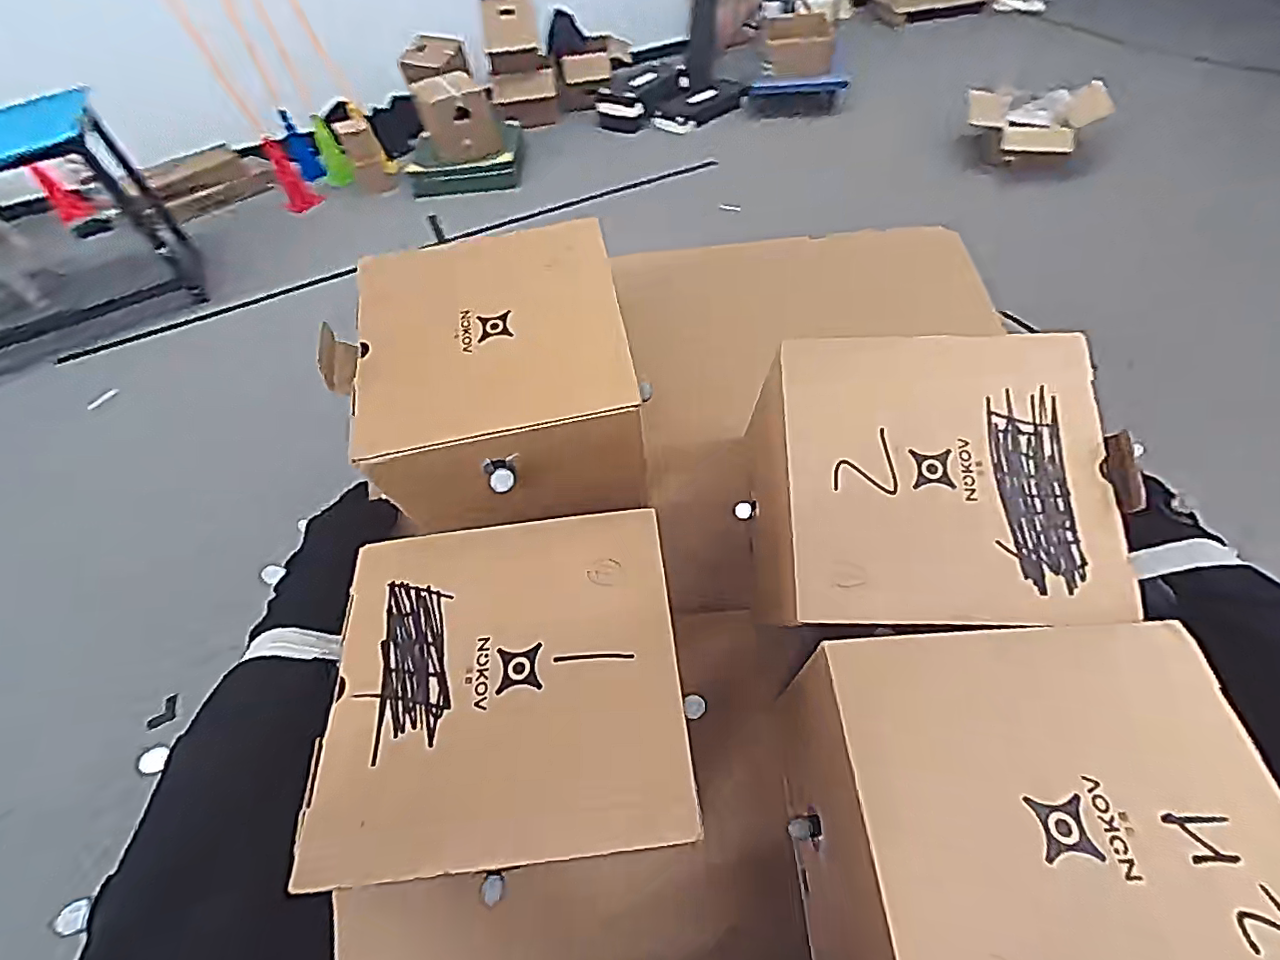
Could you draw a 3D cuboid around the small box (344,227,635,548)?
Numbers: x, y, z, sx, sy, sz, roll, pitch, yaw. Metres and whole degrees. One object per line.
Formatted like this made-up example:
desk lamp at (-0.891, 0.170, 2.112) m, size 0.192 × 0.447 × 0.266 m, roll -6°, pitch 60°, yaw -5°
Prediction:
small box at (-0.103, -0.061, 0.430) m, size 0.179 × 0.176 × 0.168 m, roll -13°, pitch 64°, yaw -2°
